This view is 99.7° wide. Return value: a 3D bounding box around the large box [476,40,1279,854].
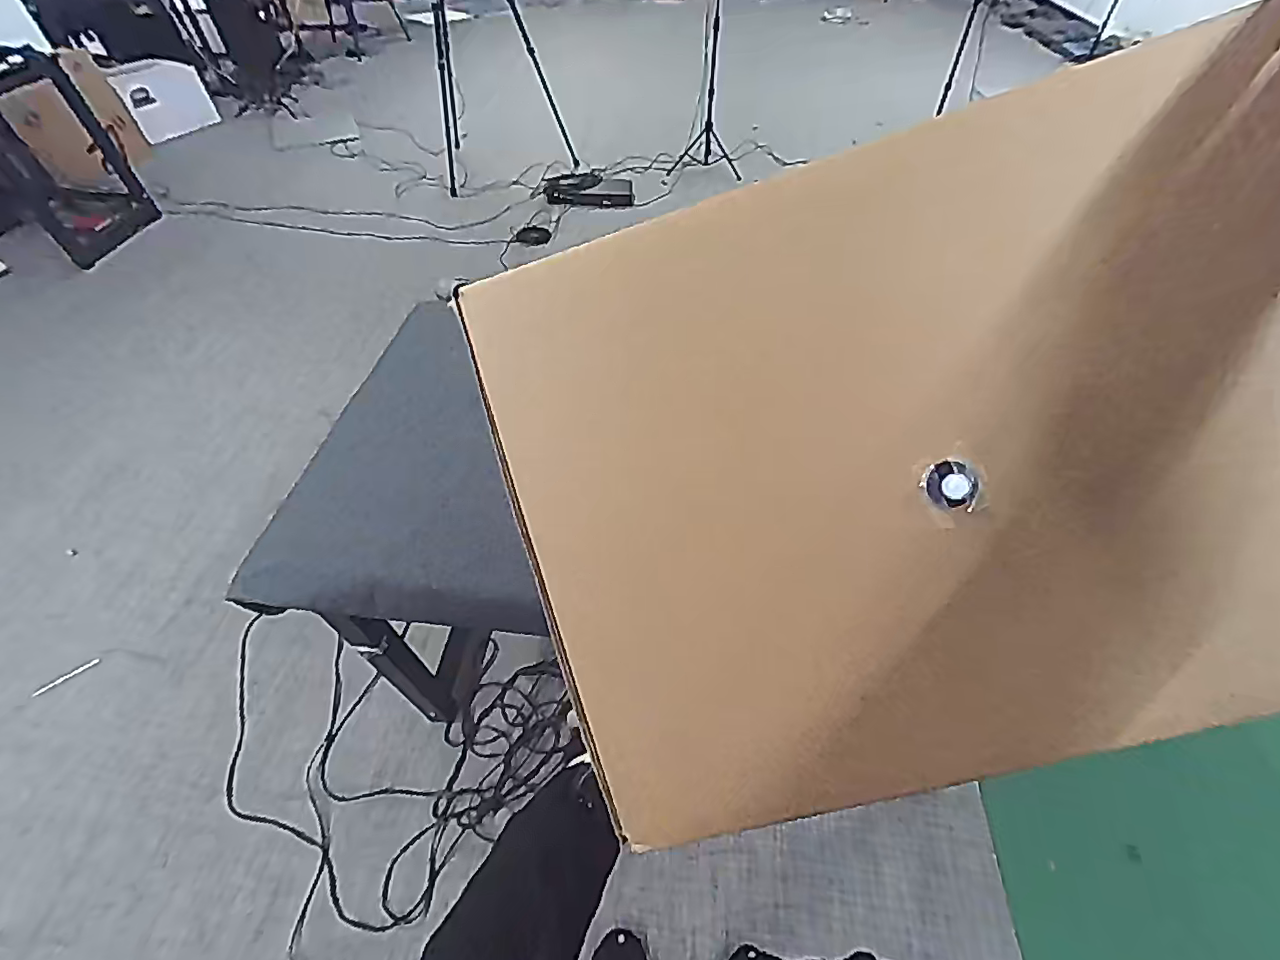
[{"bbox_3d":[0.160,-0.007,0.415,0.408,0.320,0.320,-19,90,5],"label":"large box"}]
